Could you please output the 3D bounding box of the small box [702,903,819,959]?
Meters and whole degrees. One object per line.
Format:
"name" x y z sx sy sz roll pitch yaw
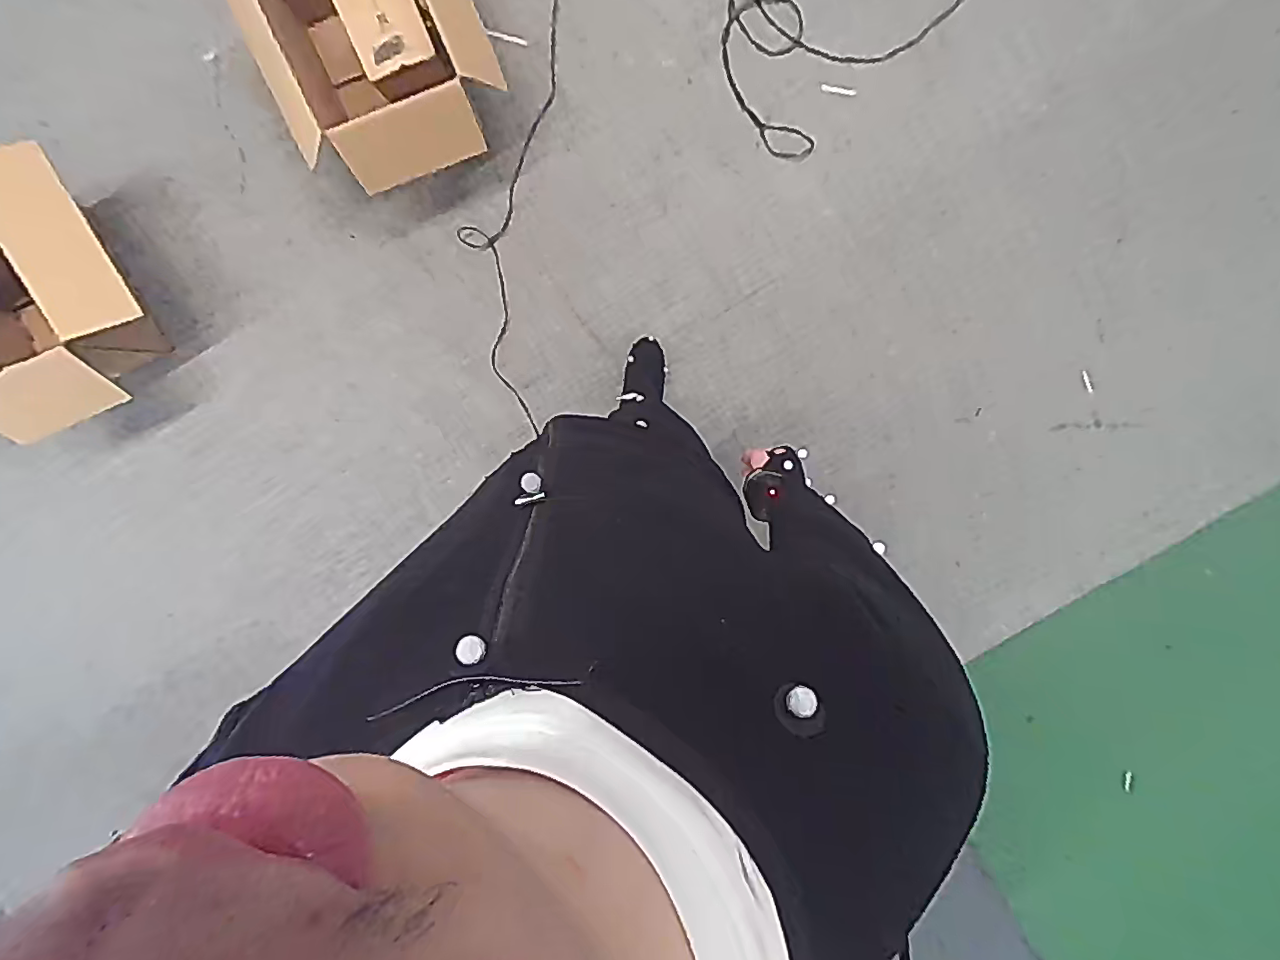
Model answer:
"small box" 0.220 0.853 0.878 0.168 0.176 0.179 -33 98 3
